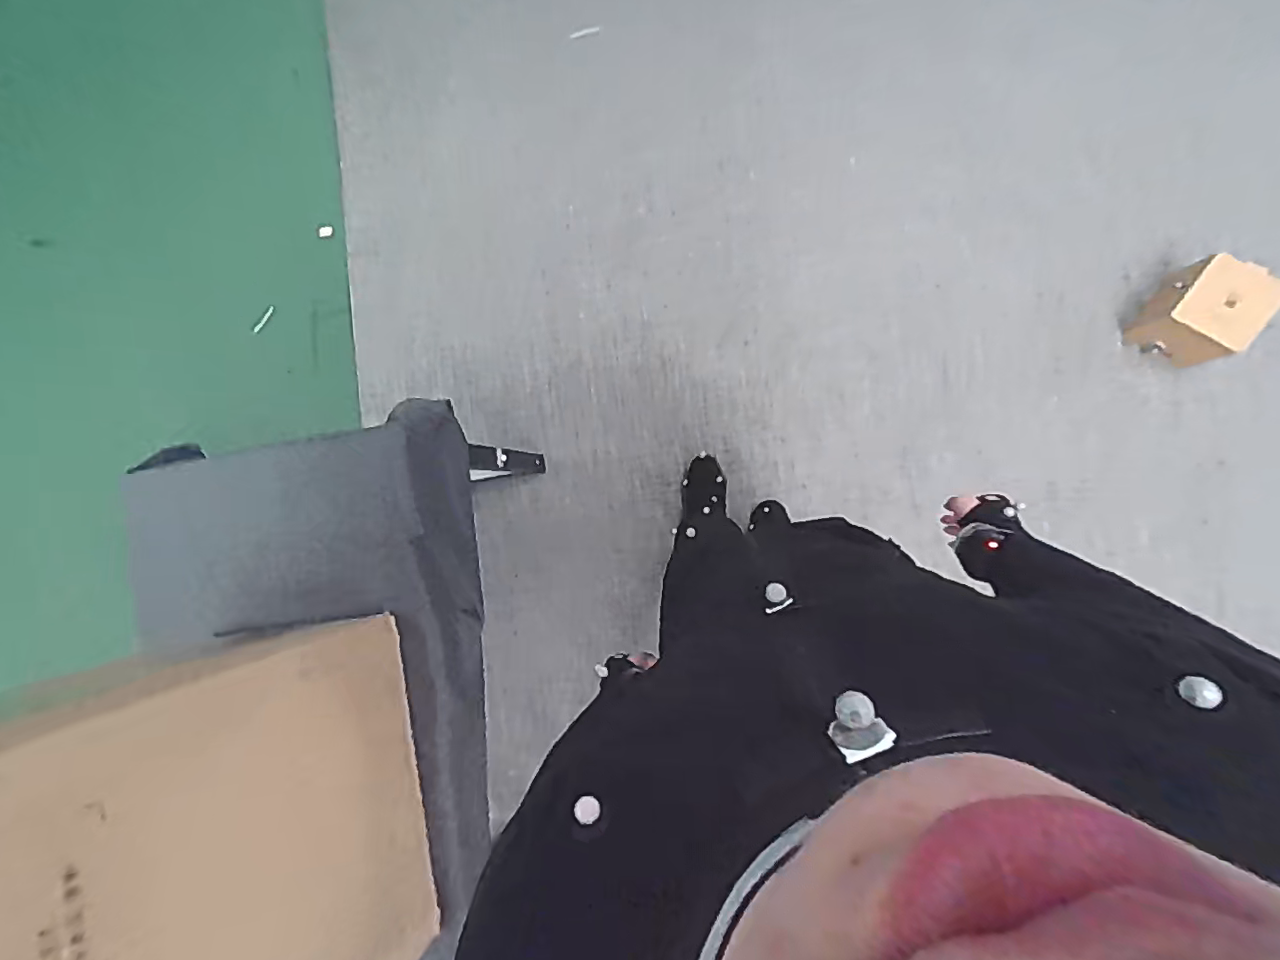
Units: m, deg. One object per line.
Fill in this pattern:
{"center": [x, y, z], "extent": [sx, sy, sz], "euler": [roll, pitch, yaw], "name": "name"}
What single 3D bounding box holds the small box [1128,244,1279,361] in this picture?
{"center": [1.316, -0.406, 1.265], "extent": [0.168, 0.176, 0.179], "euler": [35, 97, 11], "name": "small box"}
